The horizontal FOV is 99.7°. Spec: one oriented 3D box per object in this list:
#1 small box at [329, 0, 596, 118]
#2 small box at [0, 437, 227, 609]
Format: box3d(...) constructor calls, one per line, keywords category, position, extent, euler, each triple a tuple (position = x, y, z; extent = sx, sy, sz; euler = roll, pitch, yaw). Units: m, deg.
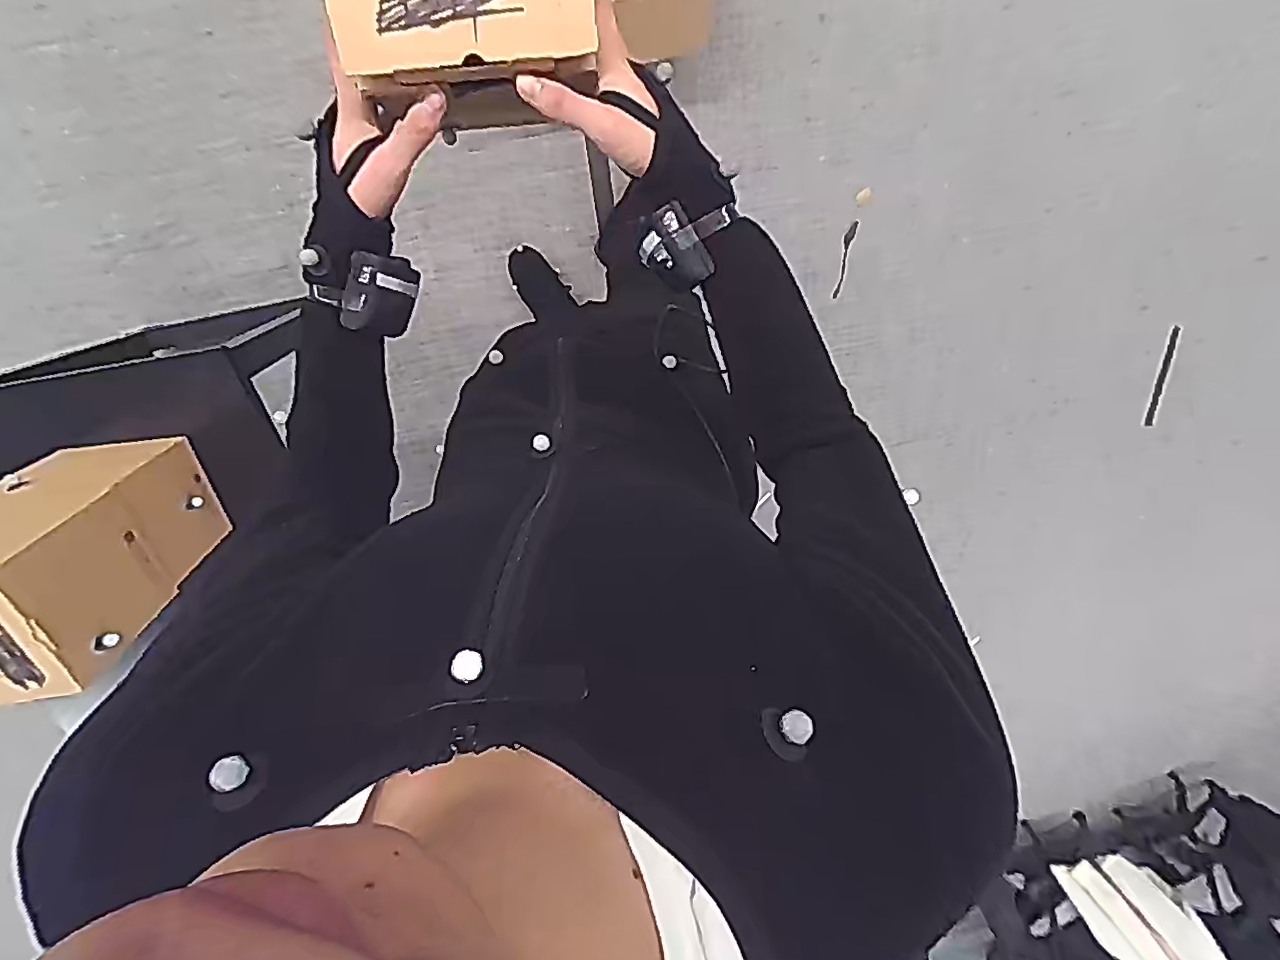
box3d(category="small box", position=(-0.122, -0.379, 0.390), extent=(0.168, 0.176, 0.179), euler=(-8, 114, -3))
box3d(category="small box", position=(-0.733, 0.052, 0.749), extent=(0.179, 0.176, 0.168), euler=(-7, 119, -5))
